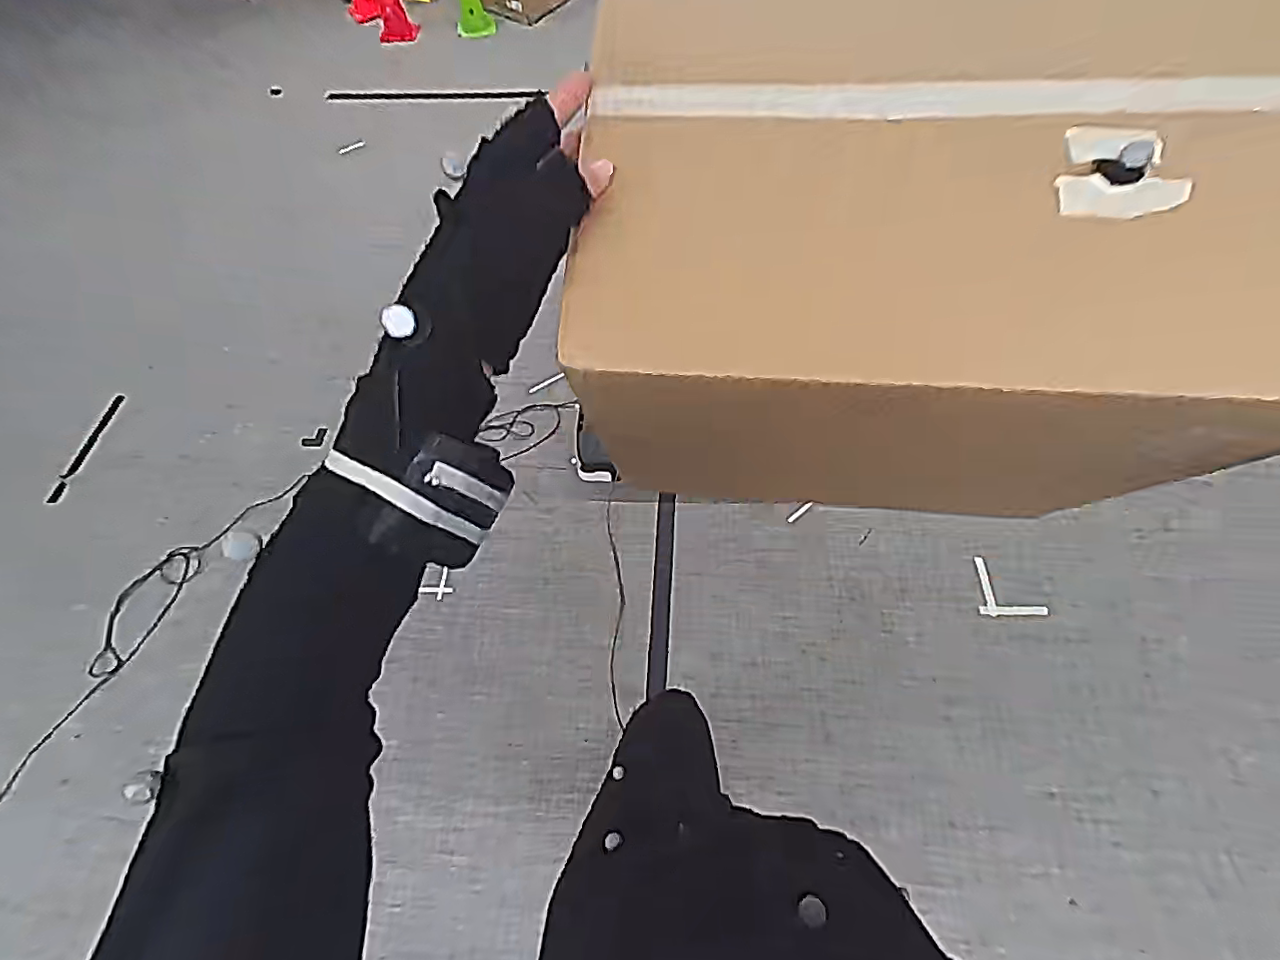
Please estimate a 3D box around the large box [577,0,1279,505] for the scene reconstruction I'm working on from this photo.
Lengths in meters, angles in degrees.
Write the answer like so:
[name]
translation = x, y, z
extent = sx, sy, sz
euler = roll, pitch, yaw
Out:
[large box]
translation = 0.182, -0.163, 0.442
extent = 0.408, 0.320, 0.320
euler = 4, 79, 5
